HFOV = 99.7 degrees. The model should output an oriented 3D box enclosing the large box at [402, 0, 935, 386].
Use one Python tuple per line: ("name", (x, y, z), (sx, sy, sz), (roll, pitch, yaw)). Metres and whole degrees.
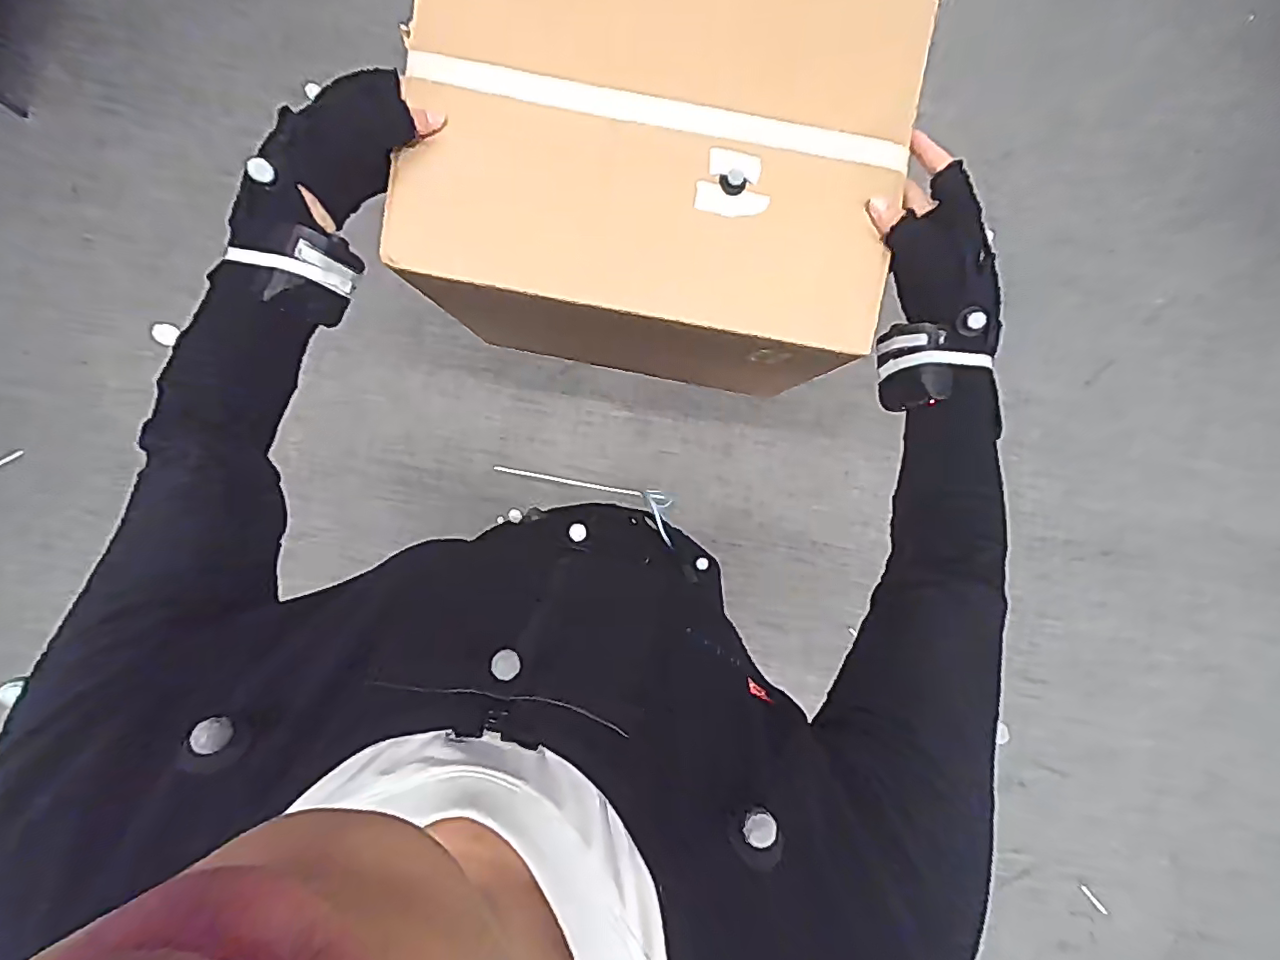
("large box", (0.019, -0.304, 0.586), (0.408, 0.320, 0.320), (10, 93, -3))
